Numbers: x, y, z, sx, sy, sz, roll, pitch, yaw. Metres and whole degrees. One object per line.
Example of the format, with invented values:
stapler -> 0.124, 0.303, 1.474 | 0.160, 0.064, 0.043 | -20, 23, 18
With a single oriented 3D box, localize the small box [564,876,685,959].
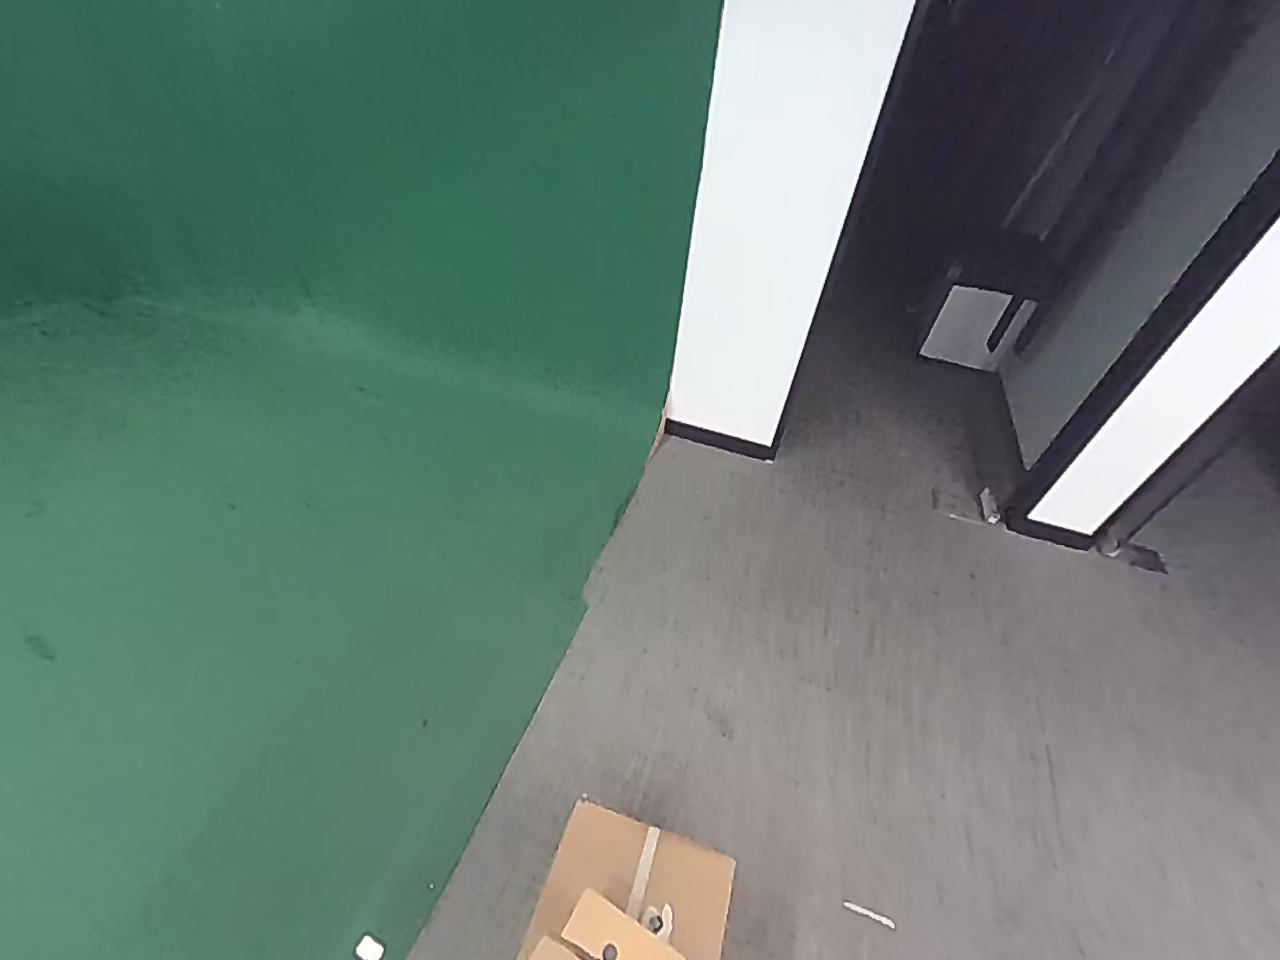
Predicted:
small box -> -0.054, 0.723, 0.776 | 0.168, 0.176, 0.179 | 23, 47, 18

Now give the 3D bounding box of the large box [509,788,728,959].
large box -> -0.051, 0.868, 0.979 | 0.320, 0.320, 0.408 | 16, 44, 10

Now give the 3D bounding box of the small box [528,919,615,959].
small box -> -0.038, 0.473, 0.395 | 0.168, 0.176, 0.179 | 20, 51, 20
